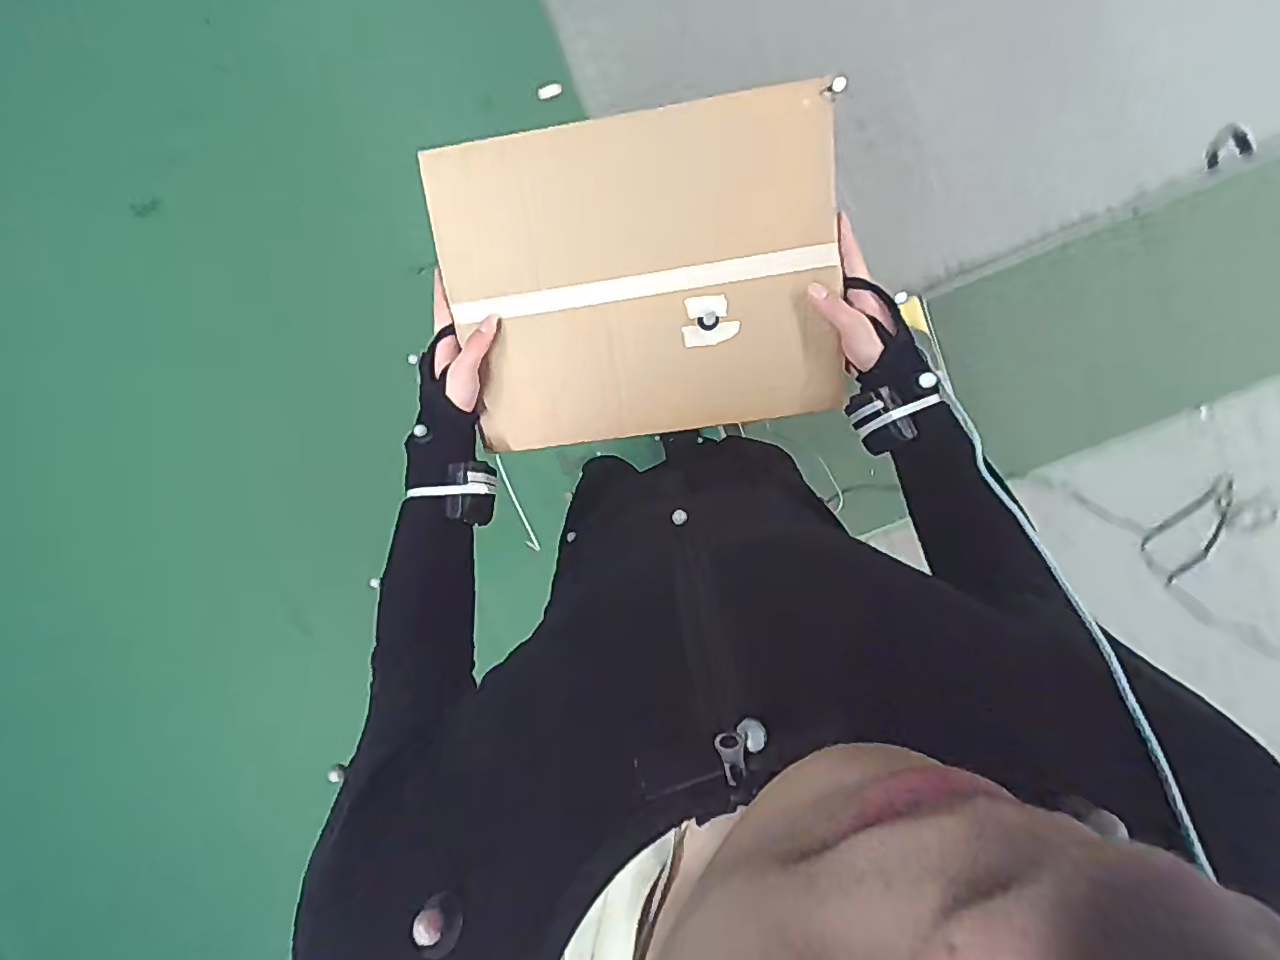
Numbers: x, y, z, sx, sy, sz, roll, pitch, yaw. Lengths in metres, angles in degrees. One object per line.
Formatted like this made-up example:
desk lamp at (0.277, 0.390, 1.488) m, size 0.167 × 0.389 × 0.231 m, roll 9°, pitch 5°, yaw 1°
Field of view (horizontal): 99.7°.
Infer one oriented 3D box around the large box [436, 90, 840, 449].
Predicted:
large box at (0.011, -0.242, 0.717) m, size 0.408 × 0.320 × 0.320 m, roll -6°, pitch 105°, yaw 5°
